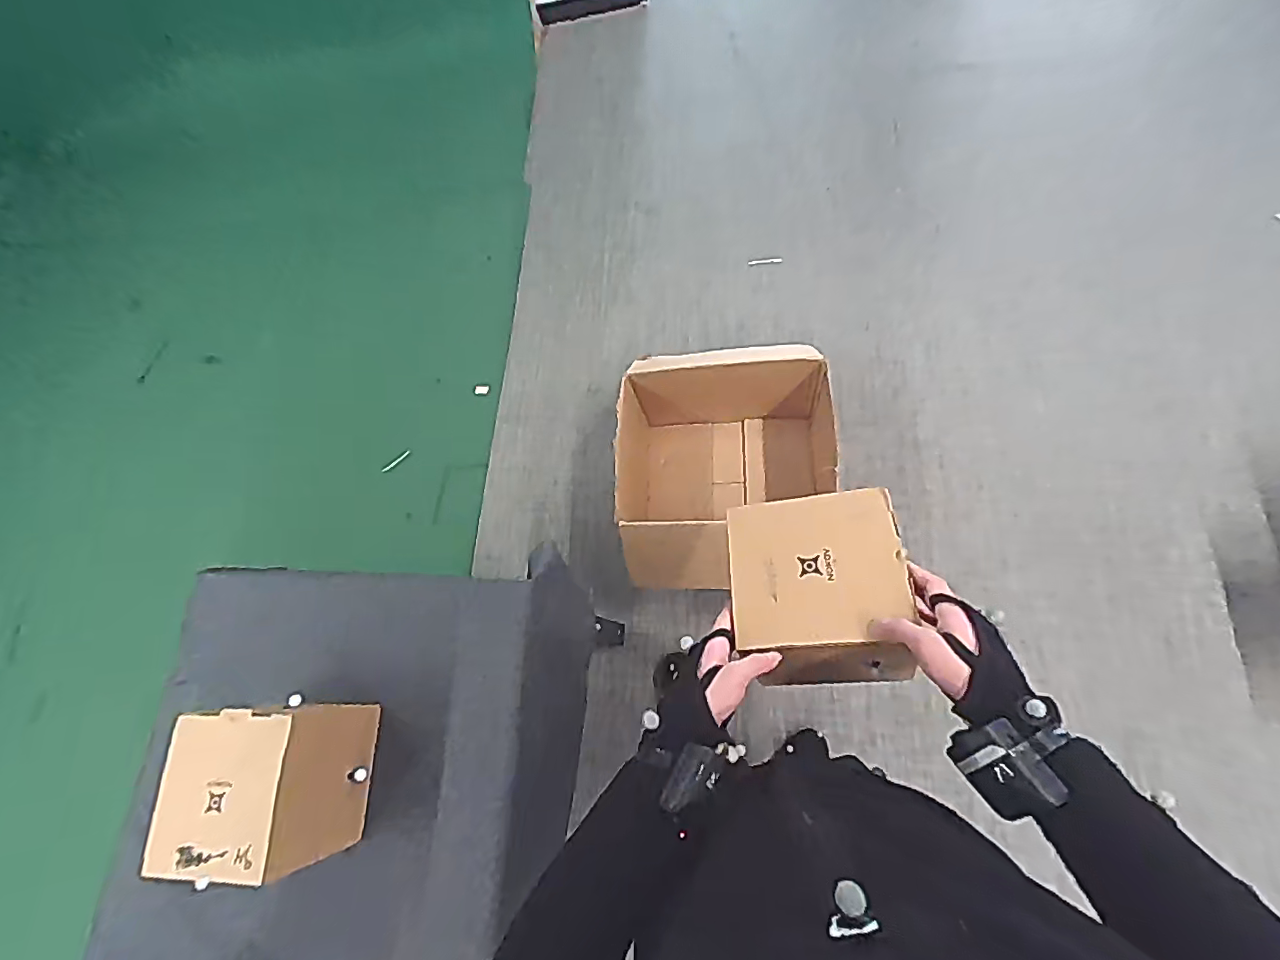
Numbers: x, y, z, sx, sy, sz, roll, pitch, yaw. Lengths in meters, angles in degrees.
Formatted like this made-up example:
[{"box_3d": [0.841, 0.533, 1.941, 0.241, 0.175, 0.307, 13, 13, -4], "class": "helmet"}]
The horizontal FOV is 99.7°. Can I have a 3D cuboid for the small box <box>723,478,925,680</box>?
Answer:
[{"box_3d": [0.198, 0.120, 0.604, 0.179, 0.176, 0.168, -10, 55, 17], "class": "small box"}]

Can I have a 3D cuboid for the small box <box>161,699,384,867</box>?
[{"box_3d": [-0.473, 0.391, 0.727, 0.168, 0.176, 0.179, -5, 70, 9], "class": "small box"}]
